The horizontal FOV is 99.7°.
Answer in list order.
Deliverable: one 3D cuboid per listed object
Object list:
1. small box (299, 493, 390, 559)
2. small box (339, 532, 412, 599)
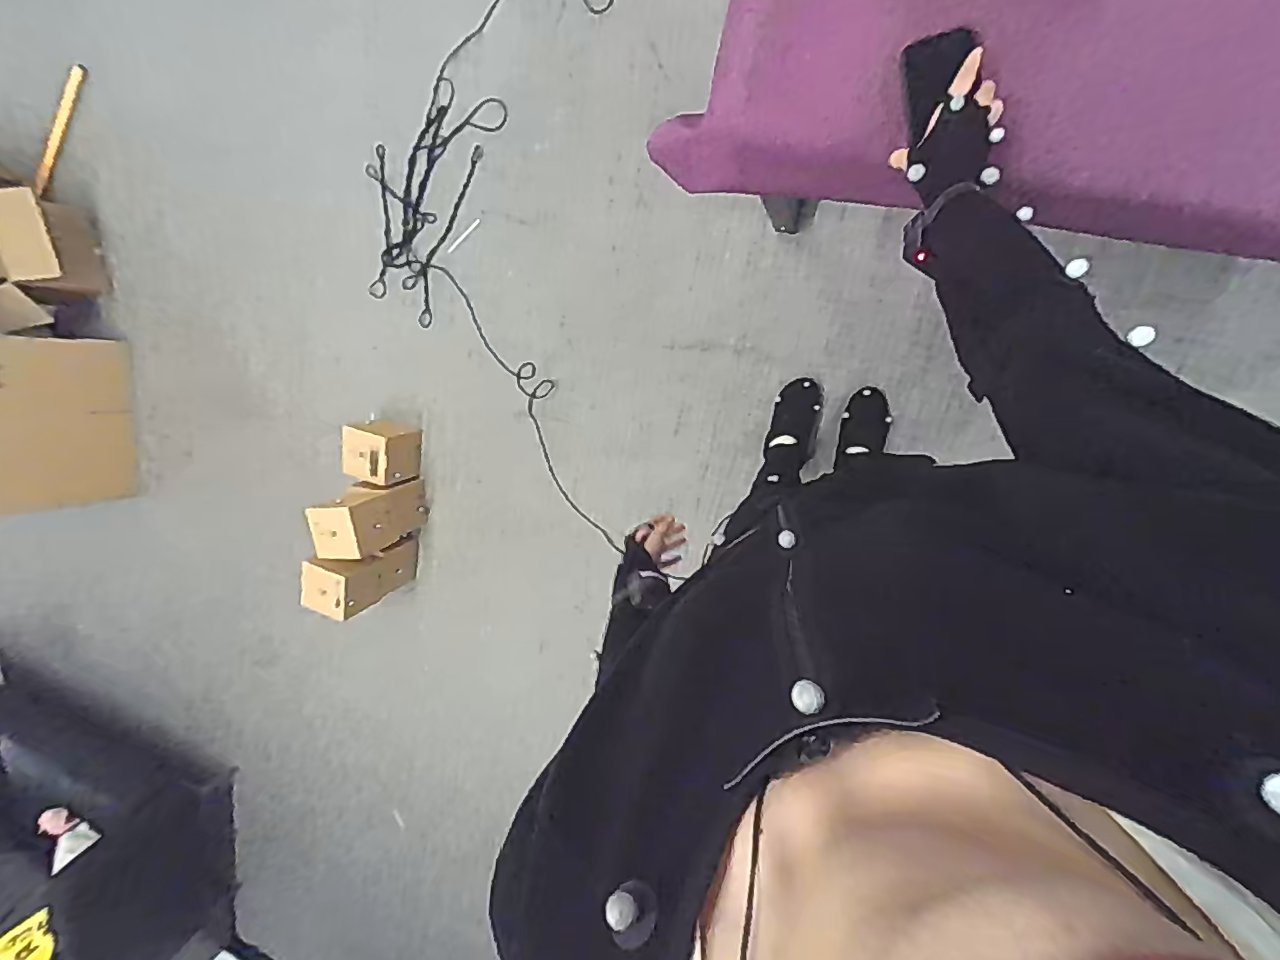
[{"bbox_3d":[-0.910,0.138,1.688,0.179,0.176,0.168,-1,104,20],"label":"small box"},{"bbox_3d":[-0.930,0.285,1.908,0.168,0.176,0.179,16,109,15],"label":"small box"}]
